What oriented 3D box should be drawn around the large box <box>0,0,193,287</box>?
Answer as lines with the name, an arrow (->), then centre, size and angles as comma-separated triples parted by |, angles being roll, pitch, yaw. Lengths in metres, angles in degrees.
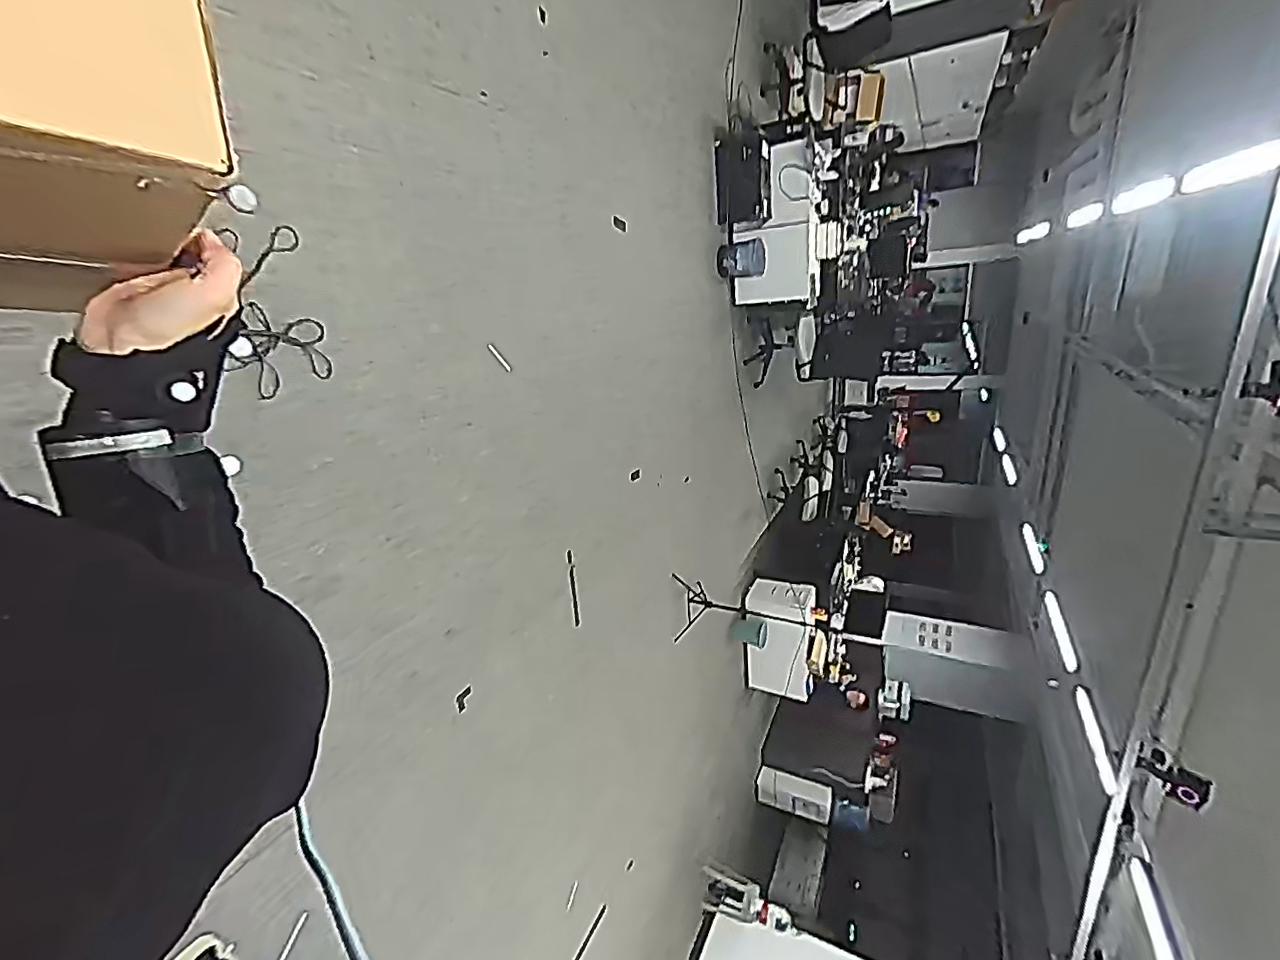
large box -> -0.460, -0.265, 0.170 | 0.408, 0.320, 0.320 | -17, 104, -48
